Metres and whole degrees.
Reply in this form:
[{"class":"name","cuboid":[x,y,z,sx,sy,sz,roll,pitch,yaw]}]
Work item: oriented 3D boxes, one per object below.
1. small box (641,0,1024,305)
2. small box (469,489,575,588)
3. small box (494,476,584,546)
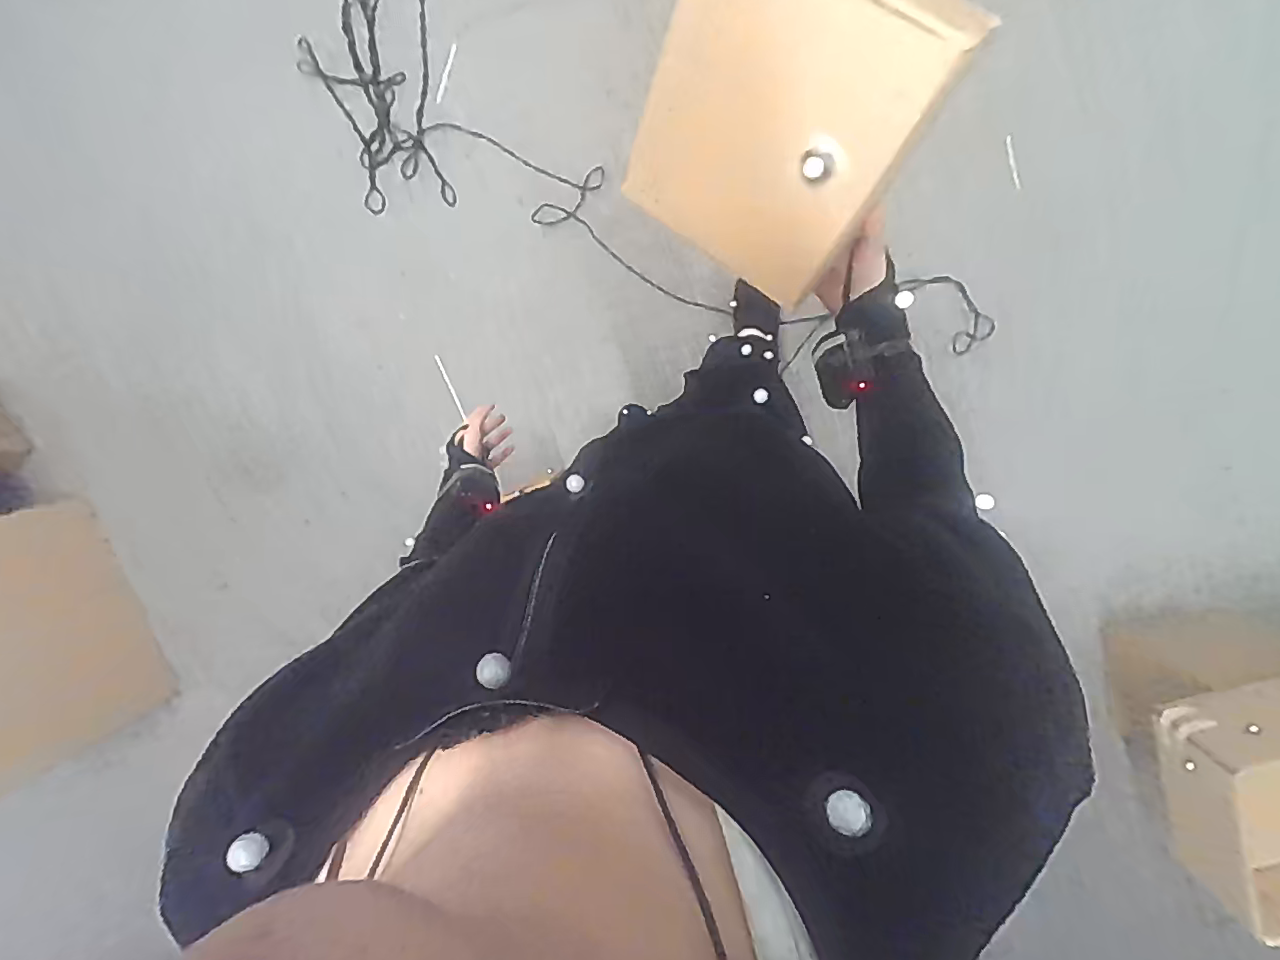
[{"class":"small box","cuboid":[0.124,-0.267,0.381,0.176,0.168,0.179,37,141,3]},{"class":"small box","cuboid":[-0.276,0.136,1.304,0.179,0.176,0.168,-18,99,9]},{"class":"small box","cuboid":[-0.266,0.098,1.463,0.168,0.176,0.179,-19,100,9]}]
